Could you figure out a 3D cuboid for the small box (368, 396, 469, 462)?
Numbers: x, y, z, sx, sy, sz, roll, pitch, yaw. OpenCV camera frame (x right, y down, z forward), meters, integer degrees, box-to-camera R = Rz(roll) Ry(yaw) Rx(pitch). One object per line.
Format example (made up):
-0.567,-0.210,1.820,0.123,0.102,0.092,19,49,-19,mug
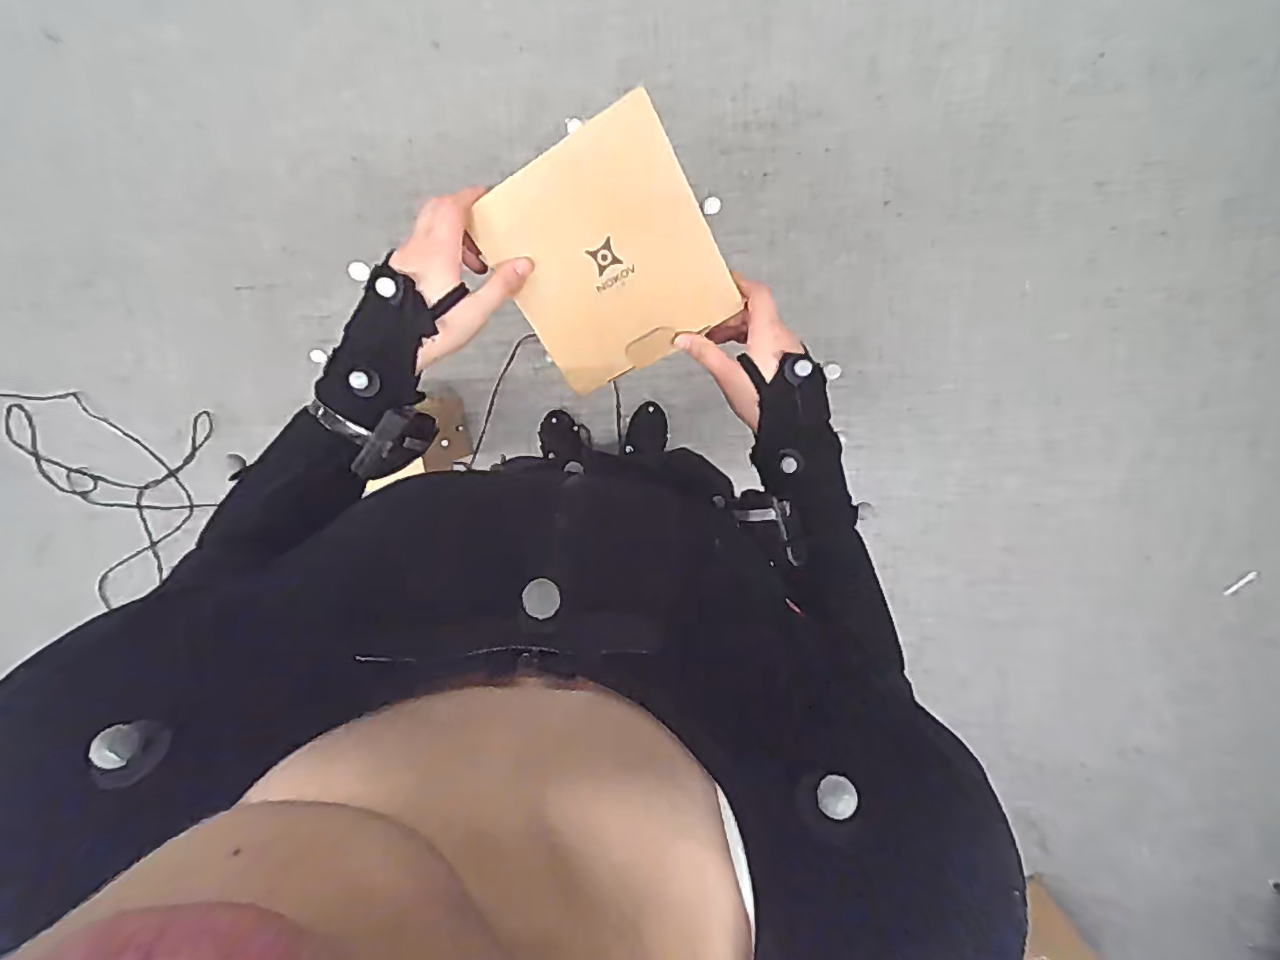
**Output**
-0.556,-0.121,1.394,0.179,0.176,0.168,-11,99,4,small box

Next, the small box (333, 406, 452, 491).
-0.555,-0.077,1.235,0.179,0.176,0.168,-8,100,2,small box
